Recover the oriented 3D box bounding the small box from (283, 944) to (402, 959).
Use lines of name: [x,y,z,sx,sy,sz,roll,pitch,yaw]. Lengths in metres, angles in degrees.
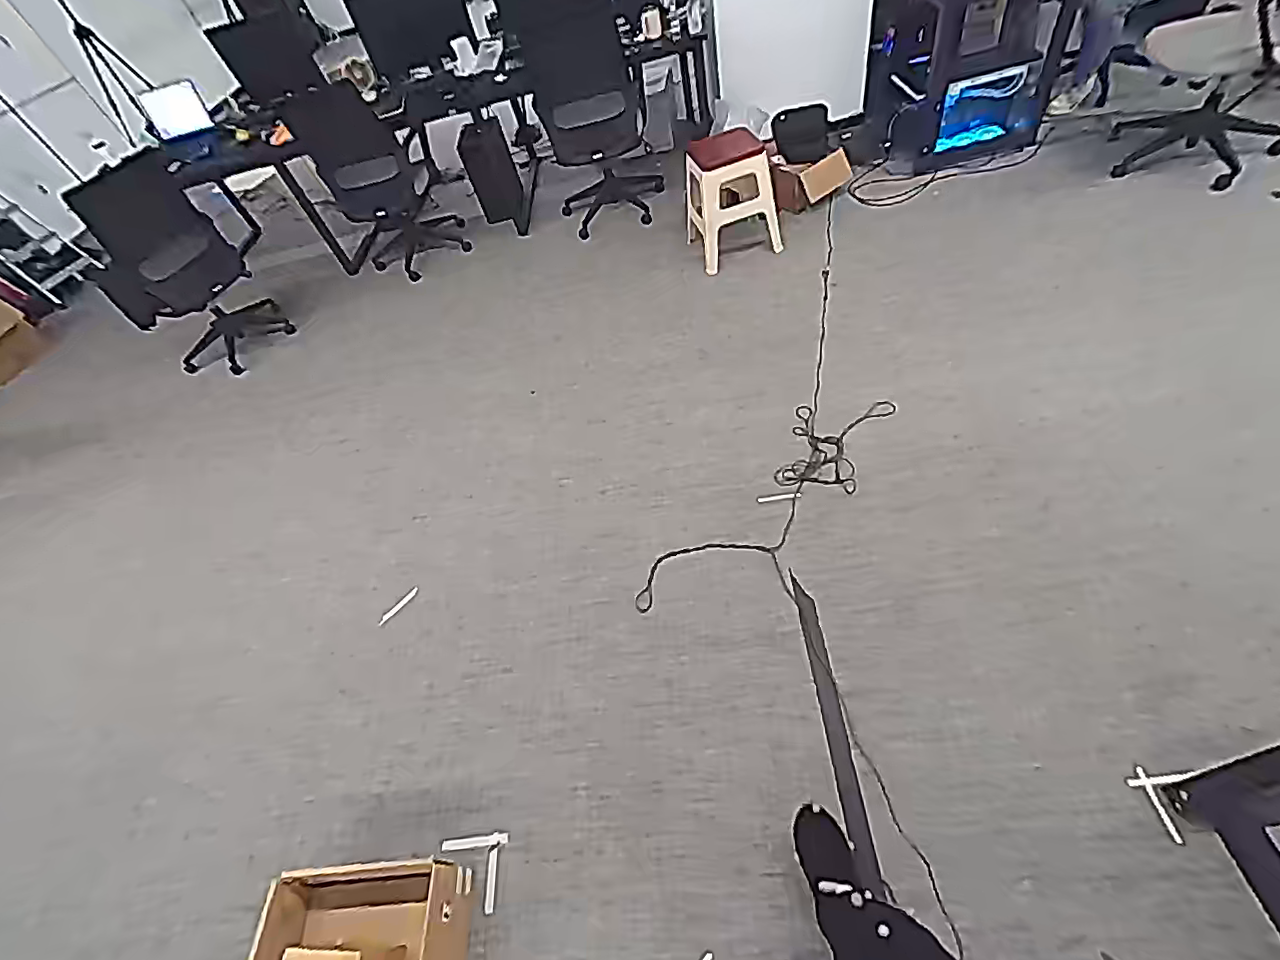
small box: [-0.627,1.063,1.102,0.179,0.176,0.168,-6,52,10]
